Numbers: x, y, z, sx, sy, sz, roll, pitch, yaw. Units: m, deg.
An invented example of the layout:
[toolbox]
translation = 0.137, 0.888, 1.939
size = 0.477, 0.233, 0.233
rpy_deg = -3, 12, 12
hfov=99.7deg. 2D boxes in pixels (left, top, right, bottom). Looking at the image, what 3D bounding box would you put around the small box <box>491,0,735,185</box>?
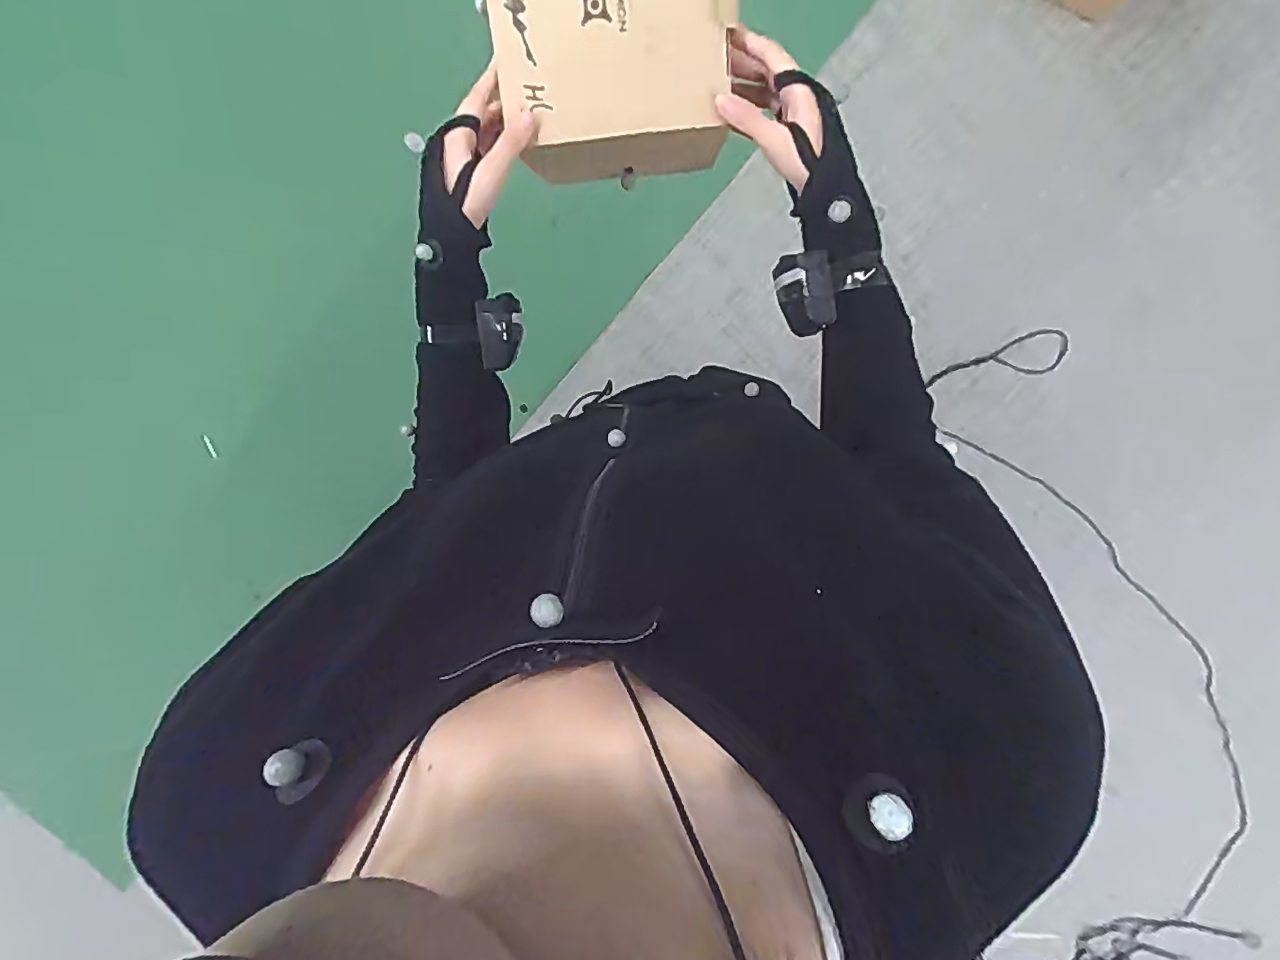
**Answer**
[small box]
translation = -0.019, -0.364, 0.462
size = 0.179, 0.176, 0.168
rpy_deg = -3, 107, 3
